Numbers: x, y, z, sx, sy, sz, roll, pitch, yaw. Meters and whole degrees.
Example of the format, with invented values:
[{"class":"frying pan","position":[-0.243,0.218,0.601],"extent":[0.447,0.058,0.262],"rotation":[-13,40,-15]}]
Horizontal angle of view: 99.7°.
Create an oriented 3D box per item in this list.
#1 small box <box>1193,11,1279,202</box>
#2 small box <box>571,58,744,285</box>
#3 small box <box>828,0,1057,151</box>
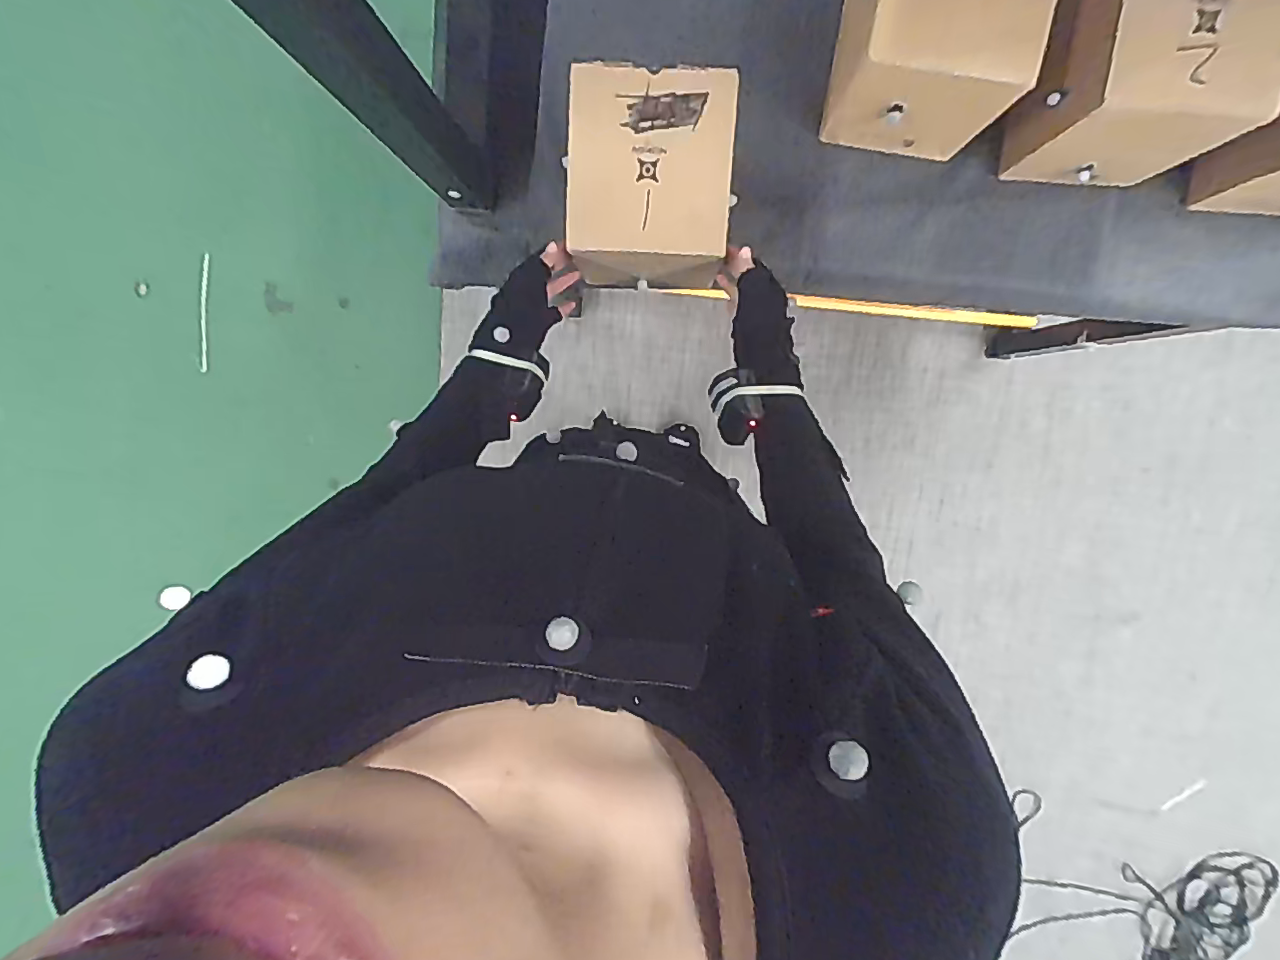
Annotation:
[{"class":"small box","position":[0.759,-0.412,0.575],"extent":[0.168,0.176,0.179],"rotation":[4,98,2]},{"class":"small box","position":[0.017,-0.334,0.618],"extent":[0.168,0.176,0.179],"rotation":[3,100,2]},{"class":"small box","position":[0.318,-0.491,0.587],"extent":[0.168,0.176,0.179],"rotation":[10,98,1]}]
